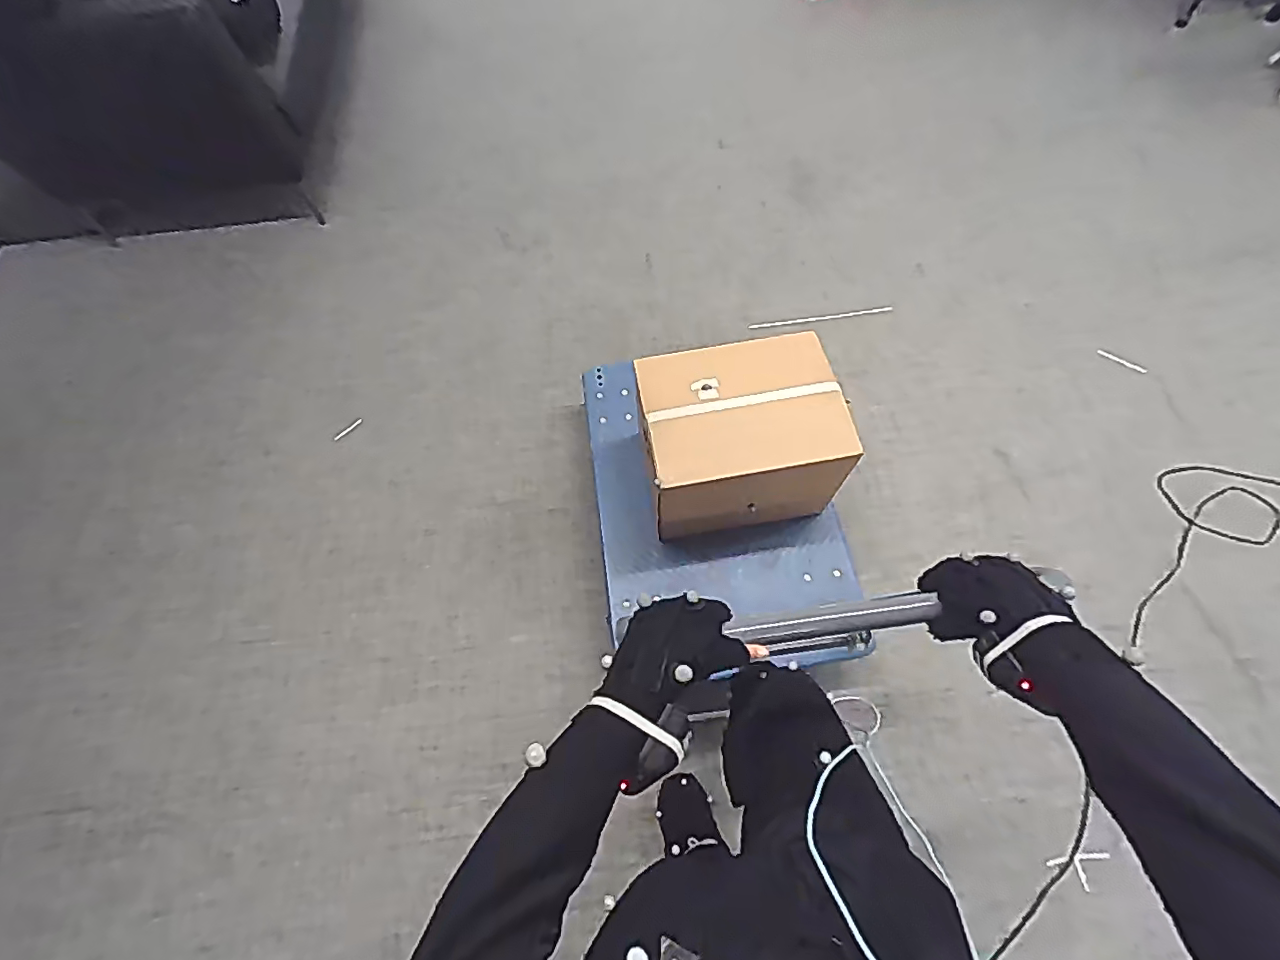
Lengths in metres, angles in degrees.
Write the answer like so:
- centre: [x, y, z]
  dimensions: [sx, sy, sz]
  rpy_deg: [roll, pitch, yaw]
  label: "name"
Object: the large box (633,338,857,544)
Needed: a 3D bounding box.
- centre: [0.217, -0.076, 1.253]
  dimensions: [0.408, 0.320, 0.320]
  rpy_deg: [-12, 64, -2]
  label: "large box"
